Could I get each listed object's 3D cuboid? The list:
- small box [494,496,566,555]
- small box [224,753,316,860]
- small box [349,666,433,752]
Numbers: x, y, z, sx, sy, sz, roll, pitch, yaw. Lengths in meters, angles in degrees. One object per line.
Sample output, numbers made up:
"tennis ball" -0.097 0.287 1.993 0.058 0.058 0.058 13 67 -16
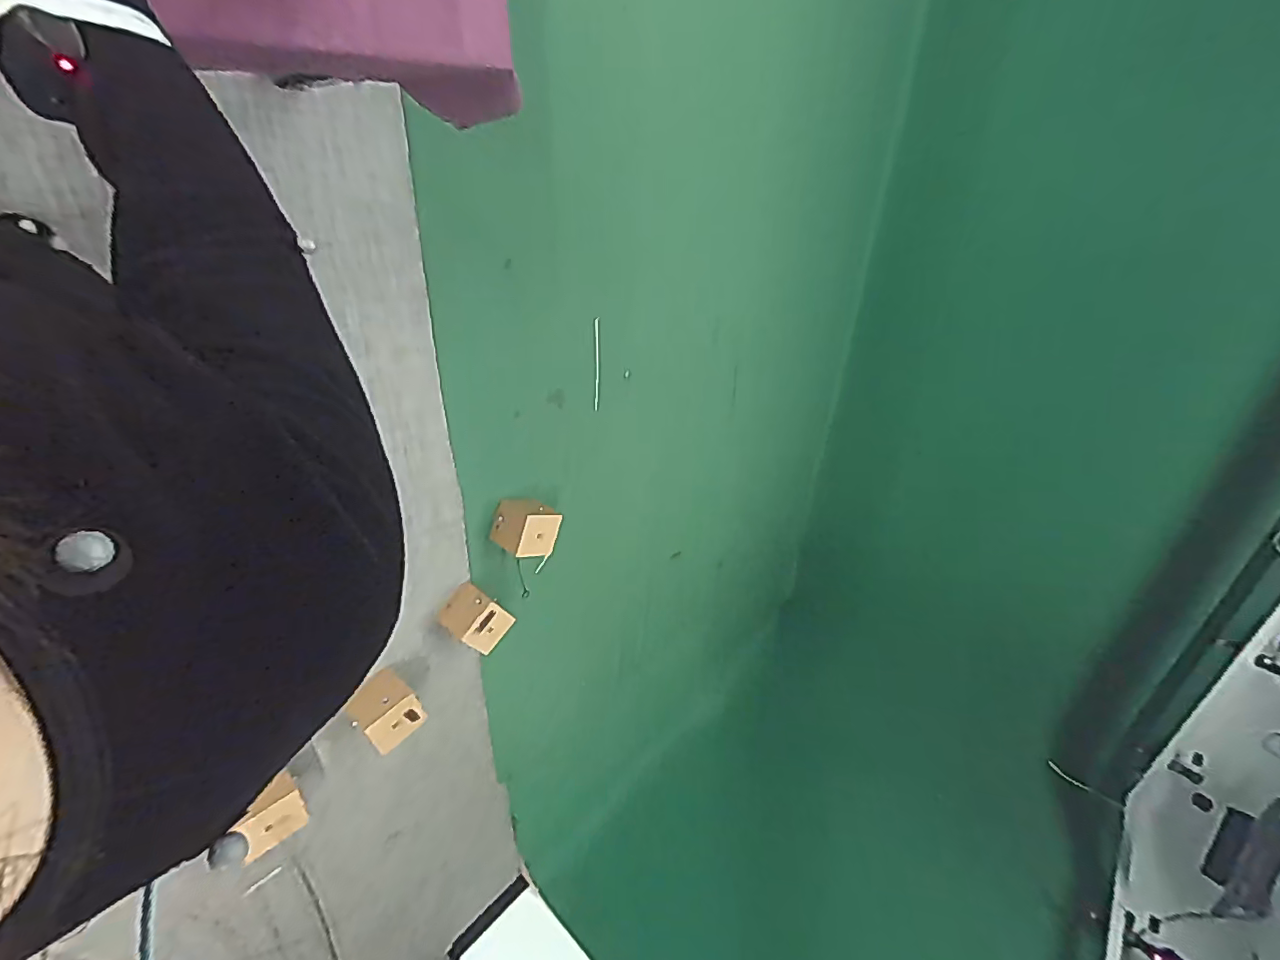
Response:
"small box" -0.416 0.167 2.030 0.179 0.176 0.168 5 106 -53
"small box" -1.115 0.971 1.623 0.179 0.176 0.168 -26 130 -41
"small box" -0.848 0.772 1.841 0.179 0.176 0.168 -37 136 -32
